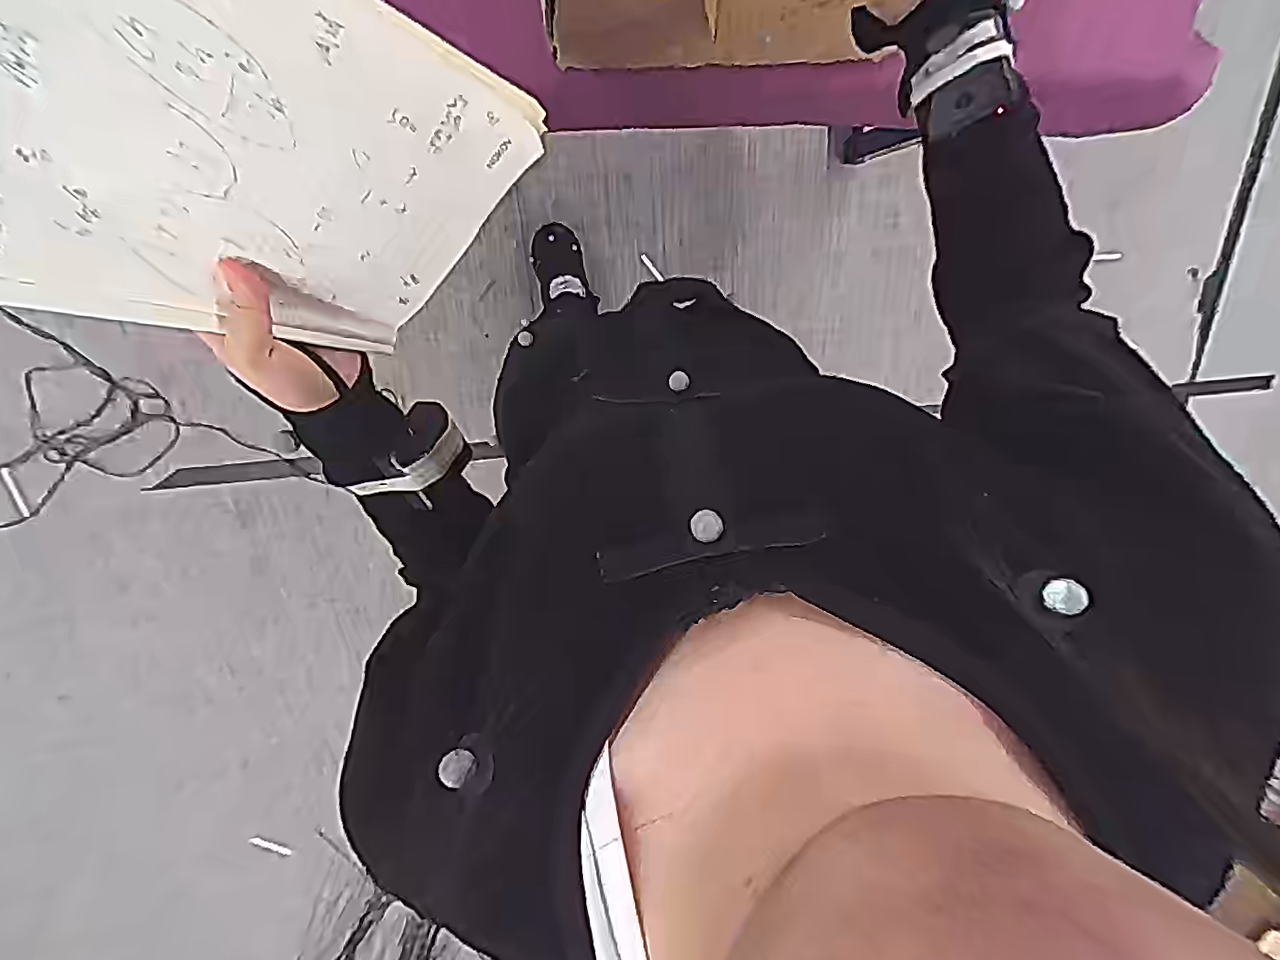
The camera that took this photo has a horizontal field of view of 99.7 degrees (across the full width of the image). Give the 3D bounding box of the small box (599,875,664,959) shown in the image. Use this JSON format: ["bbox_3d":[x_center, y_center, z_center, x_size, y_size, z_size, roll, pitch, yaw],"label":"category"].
[{"bbox_3d":[-0.029,1.338,1.640,0.168,0.176,0.179,-9,112,-6],"label":"small box"}]
